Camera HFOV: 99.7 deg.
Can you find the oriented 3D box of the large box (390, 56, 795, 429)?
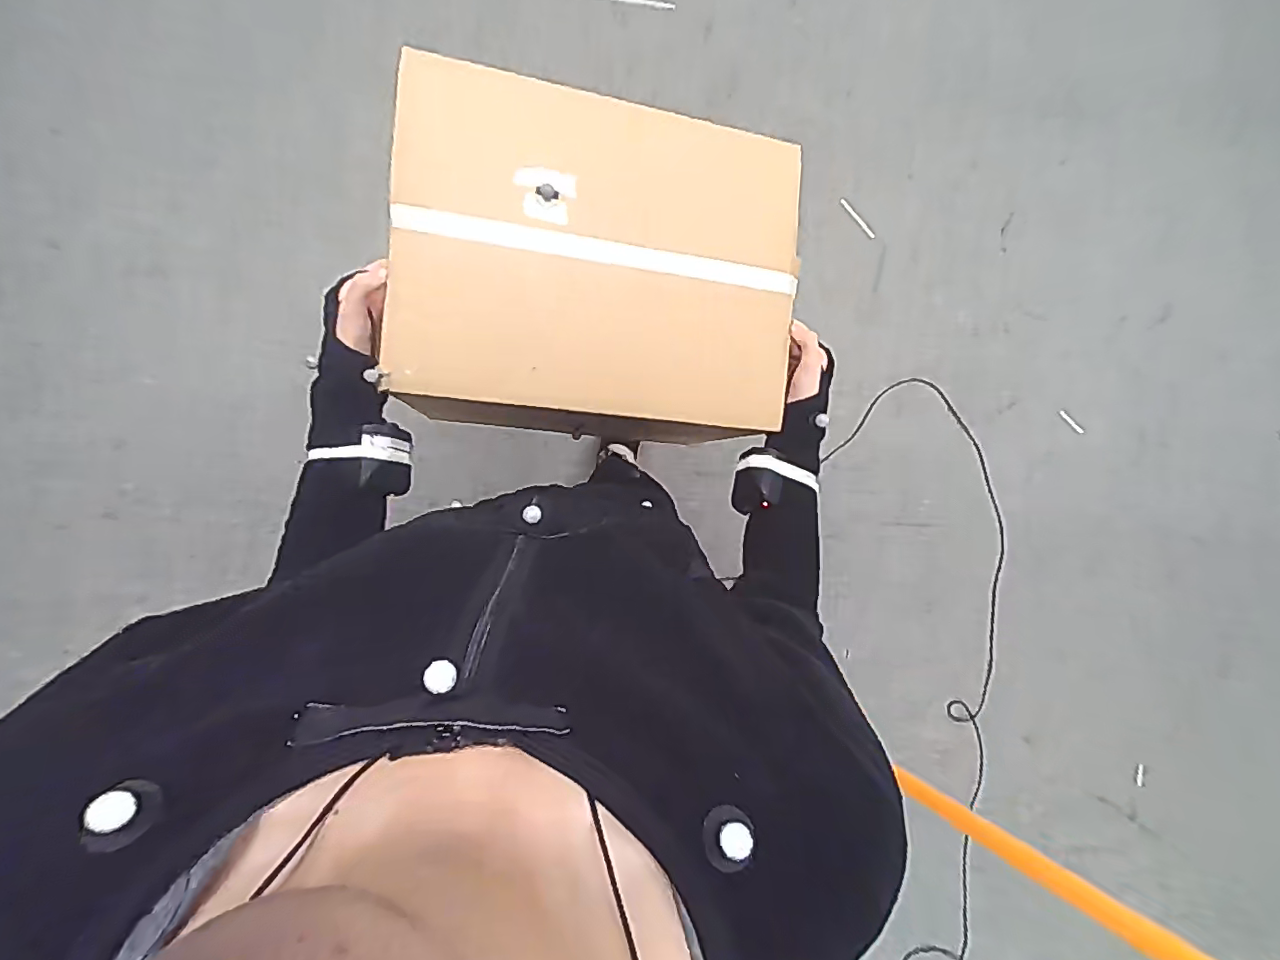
[{"bbox_3d":[-0.065,-0.236,0.692,0.408,0.320,0.320,4,90,-14],"label":"large box"}]
